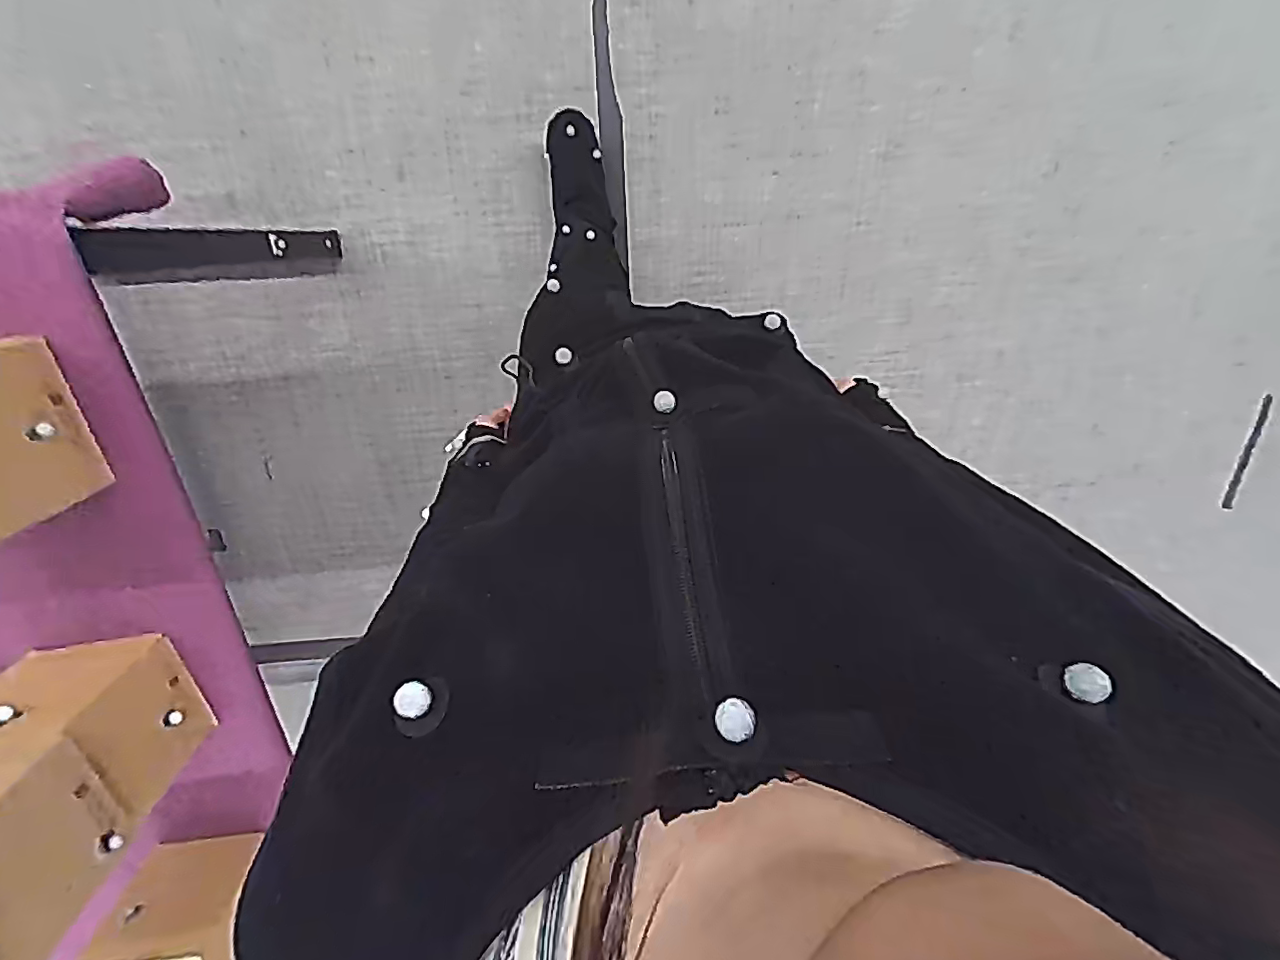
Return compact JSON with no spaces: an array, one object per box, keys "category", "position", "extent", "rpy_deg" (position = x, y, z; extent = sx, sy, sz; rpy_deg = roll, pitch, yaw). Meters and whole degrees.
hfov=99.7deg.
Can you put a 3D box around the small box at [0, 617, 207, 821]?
[{"category":"small box","position":[-0.689,0.289,0.651],"extent":[0.179,0.176,0.168],"rpy_deg":[-8,115,-2]}]

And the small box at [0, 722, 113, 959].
[{"category":"small box","position":[-0.659,0.350,0.501],"extent":[0.179,0.176,0.168],"rpy_deg":[-7,114,-2]}]
